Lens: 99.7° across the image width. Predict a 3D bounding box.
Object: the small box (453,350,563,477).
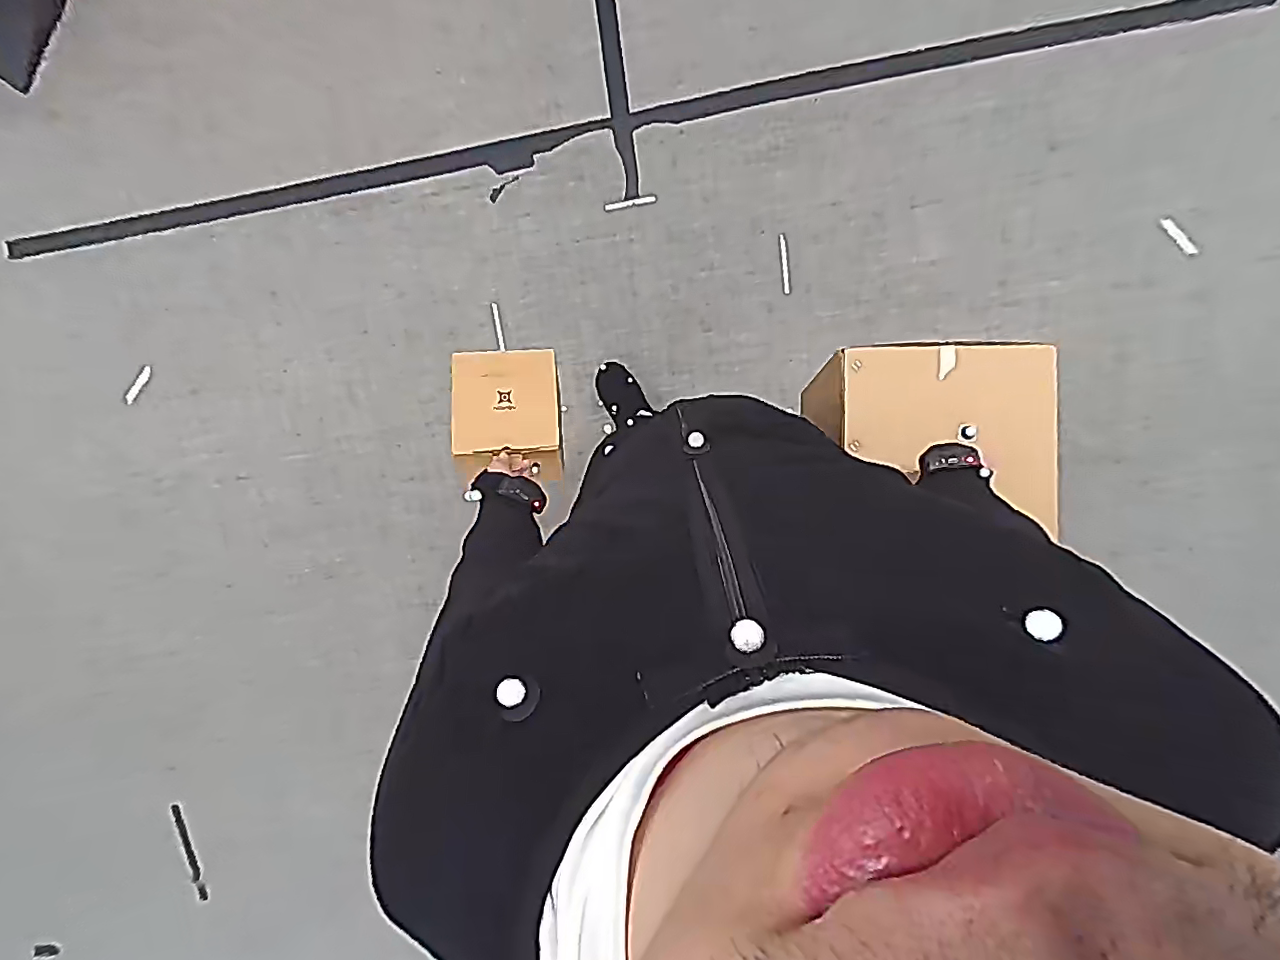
[{"bbox_3d":[-0.223,-0.107,0.944,0.168,0.176,0.179,-3,75,-7],"label":"small box"}]
